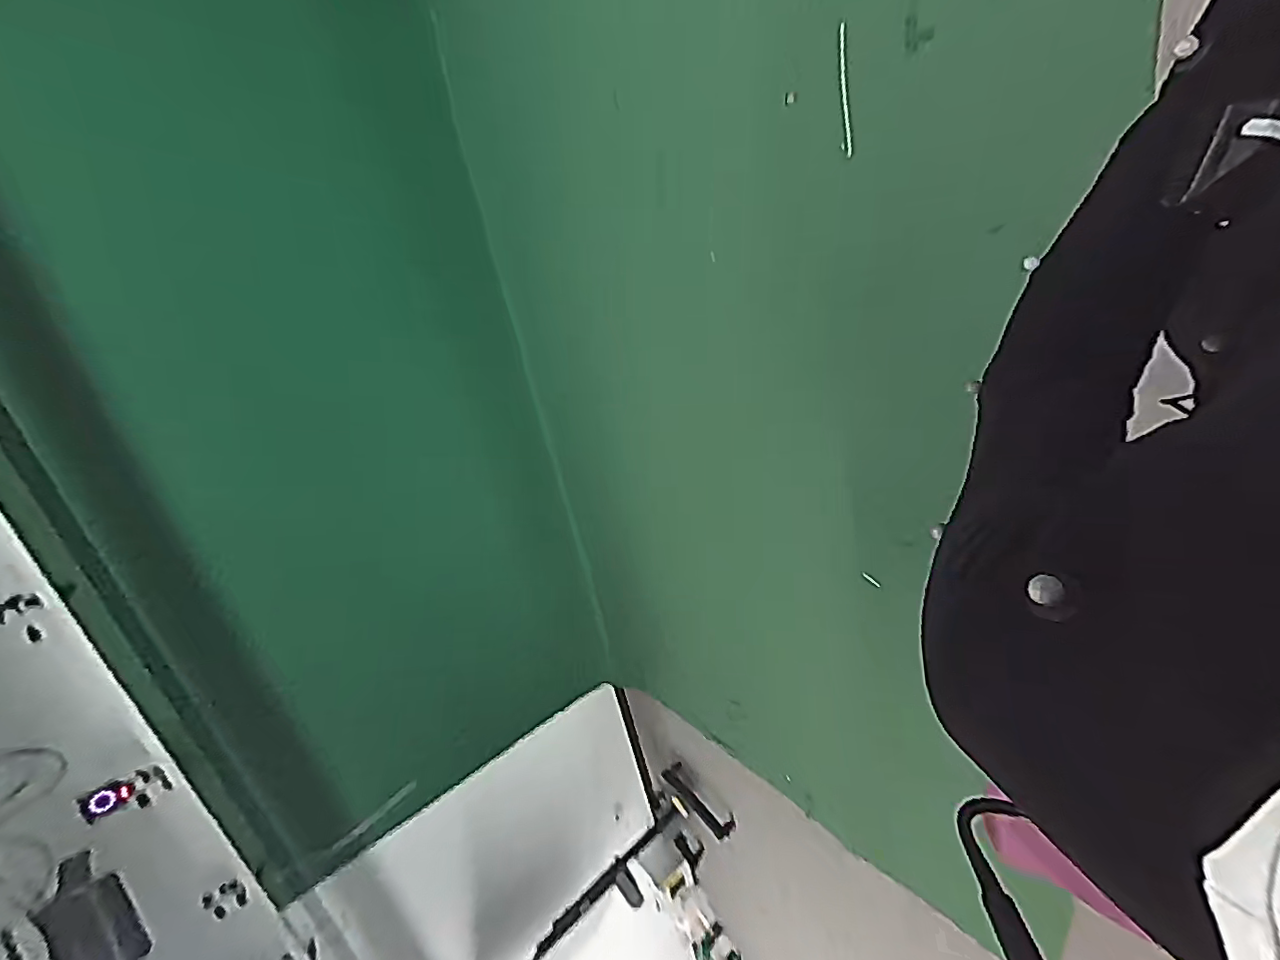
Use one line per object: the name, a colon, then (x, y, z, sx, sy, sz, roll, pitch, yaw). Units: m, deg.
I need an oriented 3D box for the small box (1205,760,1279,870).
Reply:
small box: (0.845, 0.506, 0.691, 0.168, 0.176, 0.179, 9, 121, 52)

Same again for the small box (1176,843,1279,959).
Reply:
small box: (0.720, 0.562, 0.600, 0.168, 0.176, 0.179, 14, 125, 50)
